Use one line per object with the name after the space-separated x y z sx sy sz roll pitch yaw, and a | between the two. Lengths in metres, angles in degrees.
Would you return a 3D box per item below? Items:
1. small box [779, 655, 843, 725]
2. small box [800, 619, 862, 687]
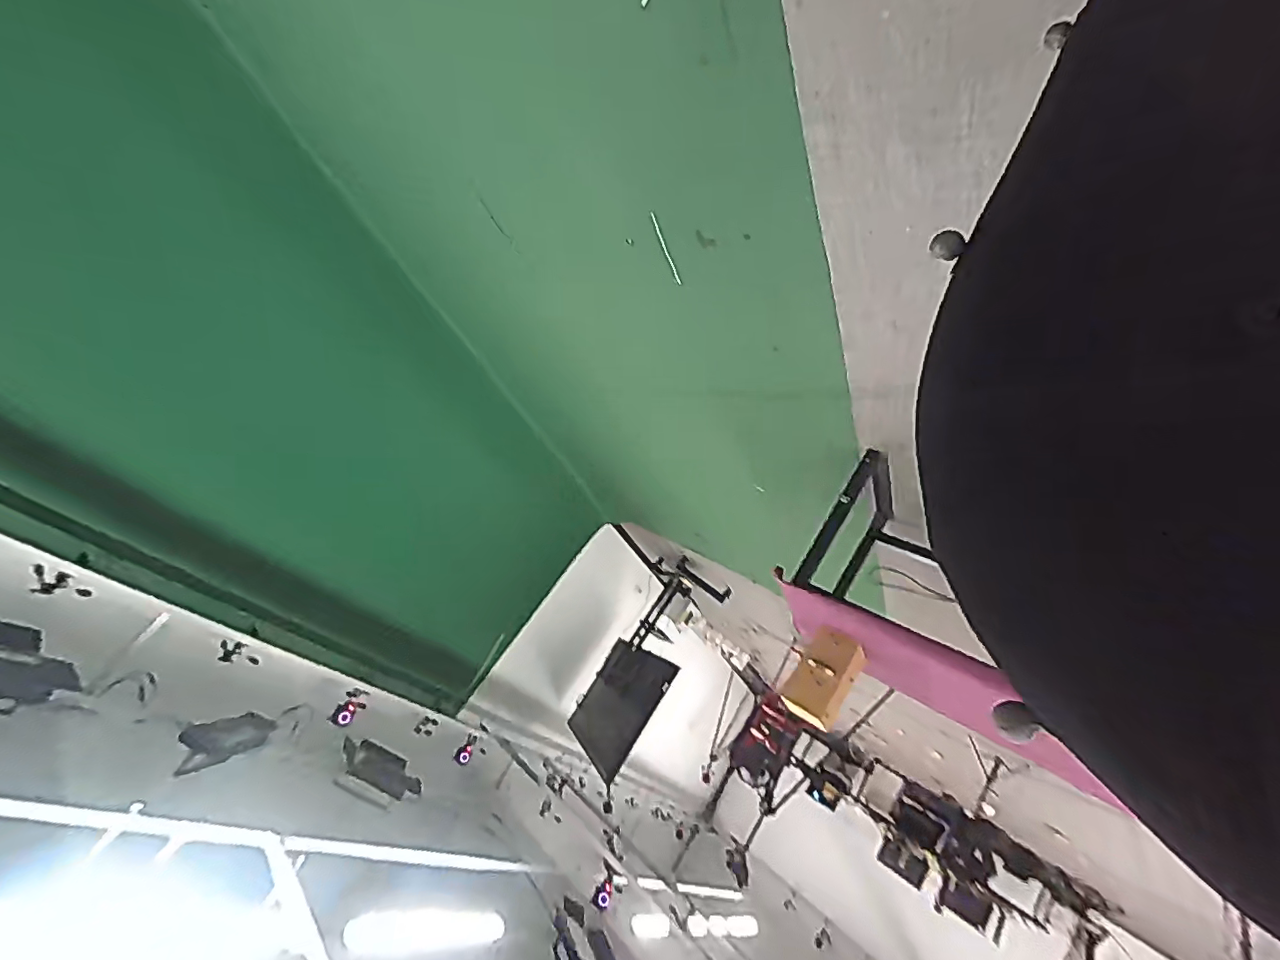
0.668 0.810 2.094 0.168 0.176 0.179 21 156 39 | small box
0.759 0.683 2.139 0.168 0.176 0.179 20 156 39 | small box
